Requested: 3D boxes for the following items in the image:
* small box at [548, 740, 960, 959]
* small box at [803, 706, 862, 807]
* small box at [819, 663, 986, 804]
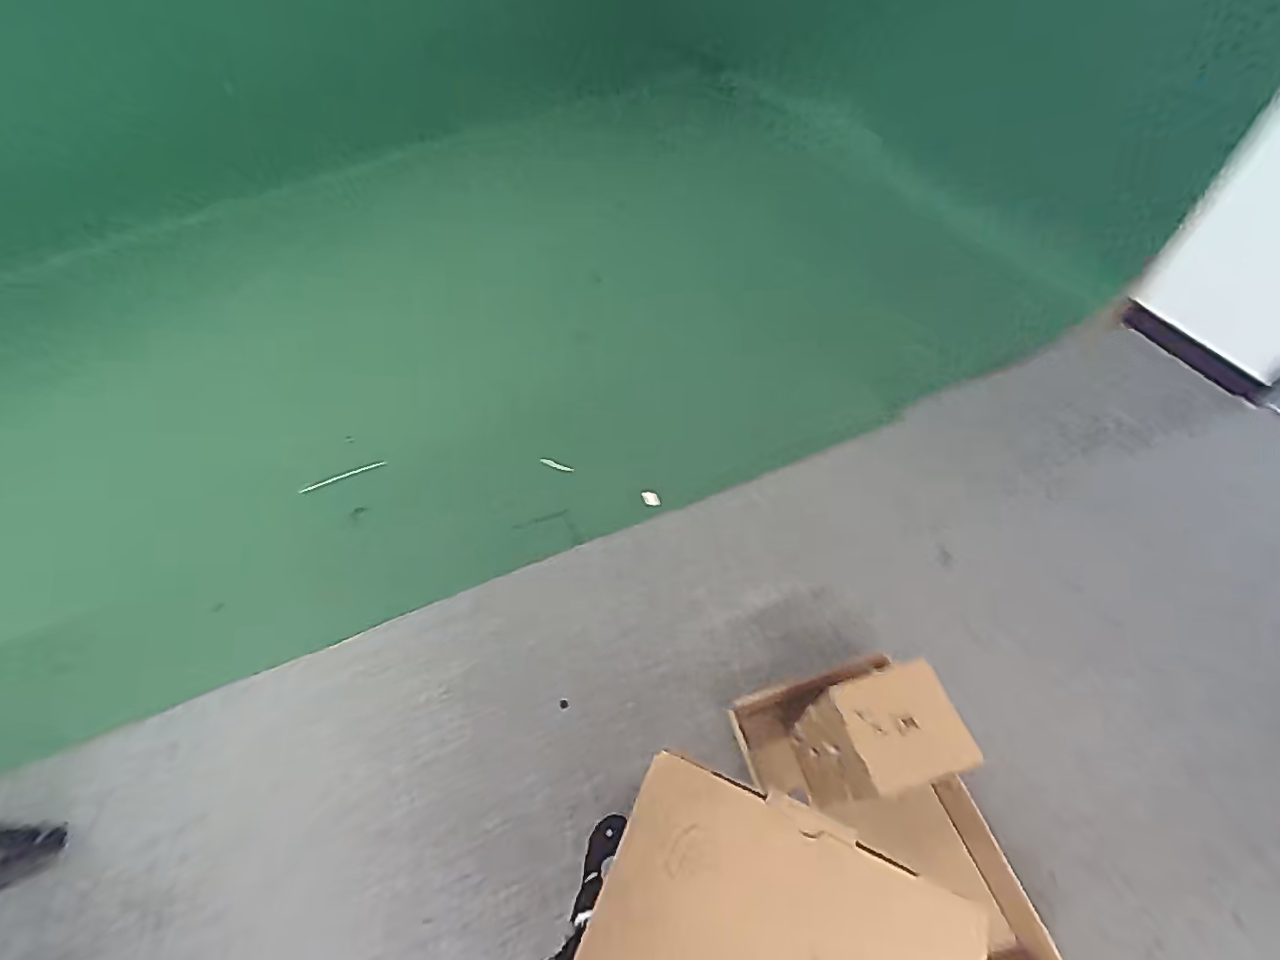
[{"bbox_3d":[0.046,0.274,0.296,0.168,0.176,0.179,17,62,18],"label":"small box"},{"bbox_3d":[0.440,0.522,1.057,0.179,0.176,0.168,-17,57,-3],"label":"small box"},{"bbox_3d":[0.428,0.433,0.918,0.179,0.176,0.168,-16,56,-3],"label":"small box"}]
